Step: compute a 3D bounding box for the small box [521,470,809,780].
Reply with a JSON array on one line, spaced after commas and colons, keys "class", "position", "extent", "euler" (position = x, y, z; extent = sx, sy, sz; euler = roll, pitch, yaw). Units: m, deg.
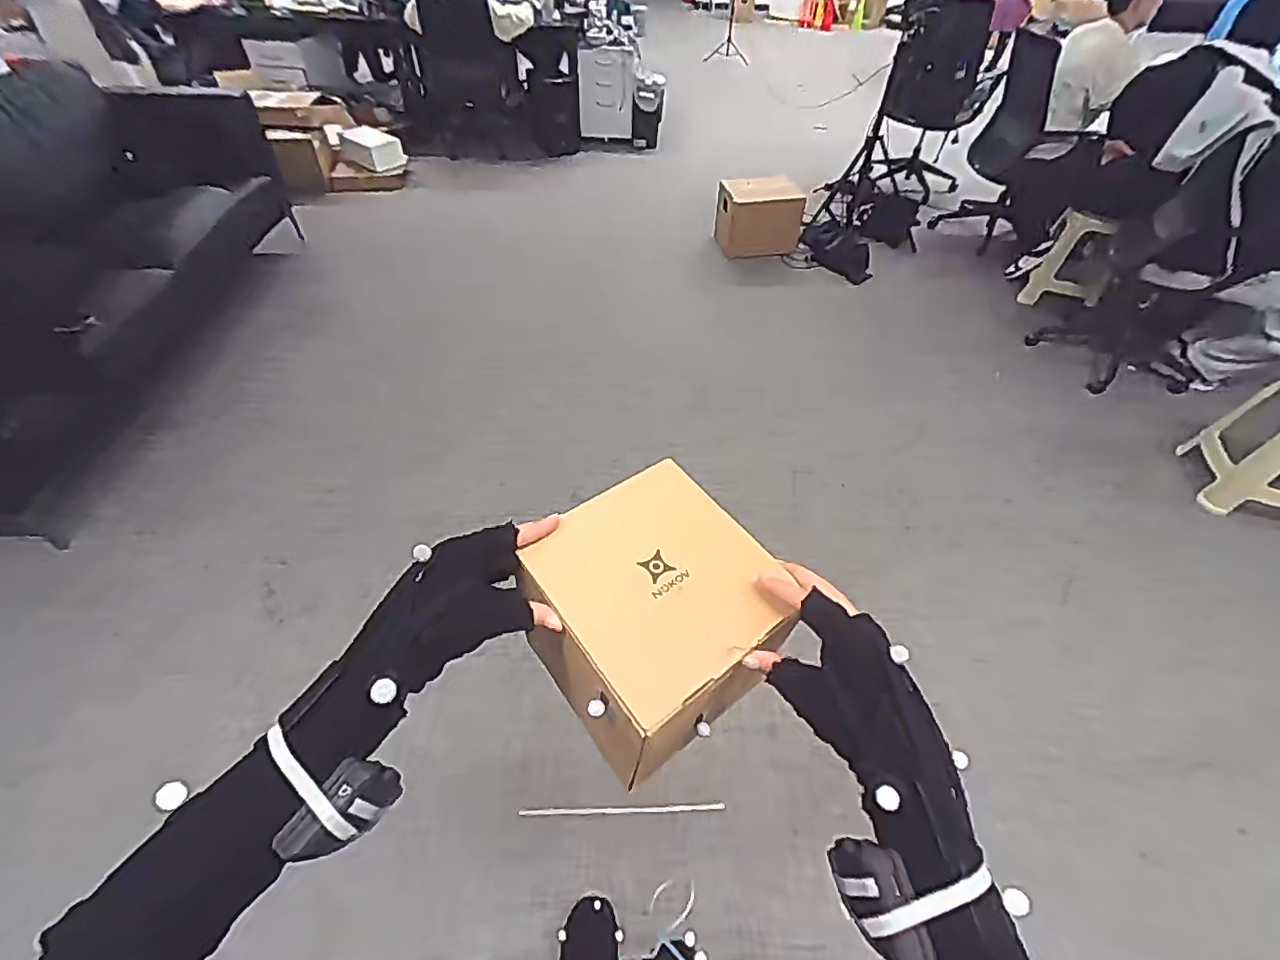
[{"class": "small box", "position": [0.010, 0.129, 0.485], "extent": [0.168, 0.176, 0.179], "euler": [-28, 58, -27]}]
